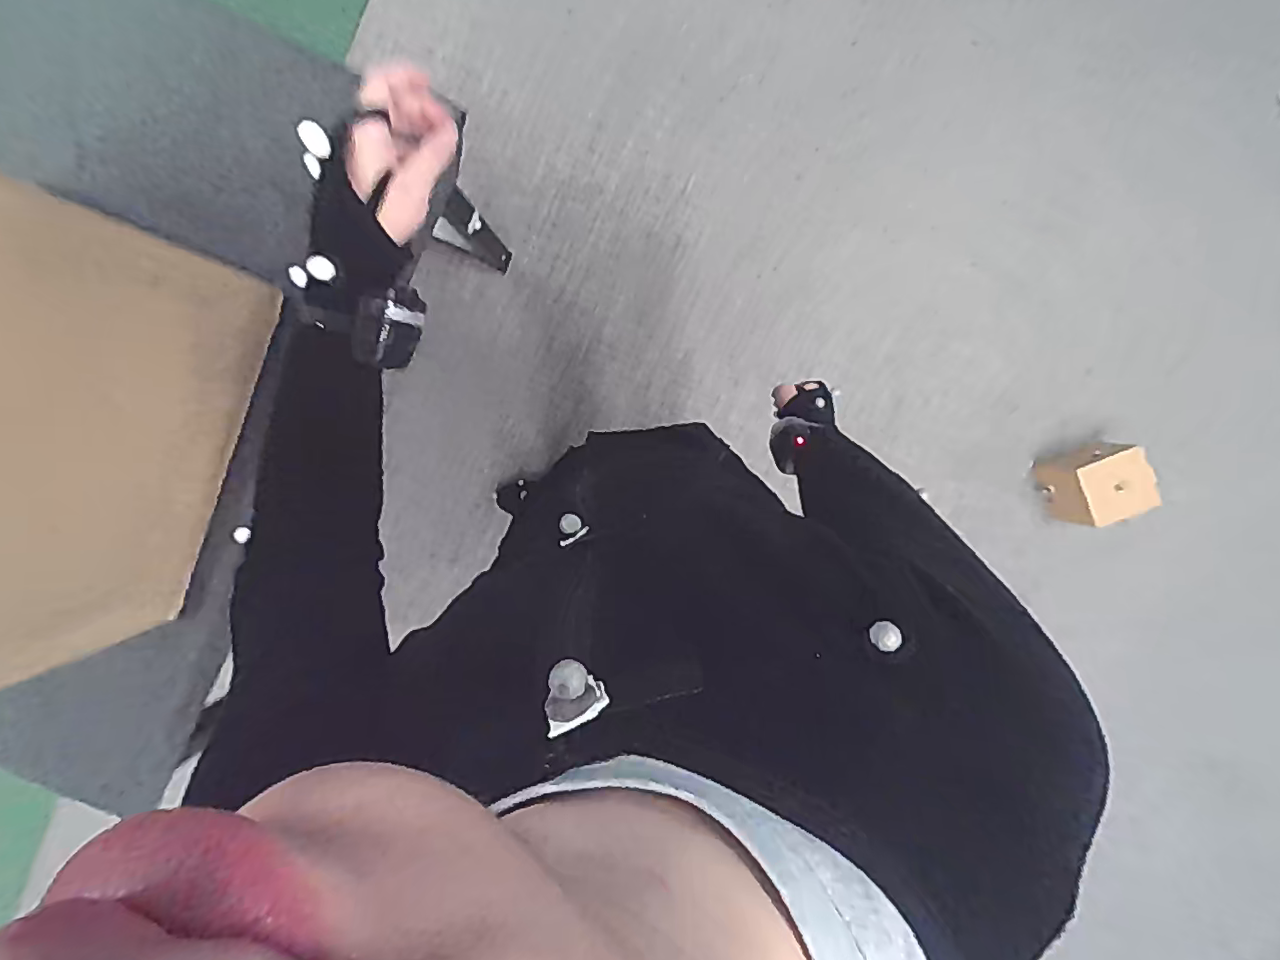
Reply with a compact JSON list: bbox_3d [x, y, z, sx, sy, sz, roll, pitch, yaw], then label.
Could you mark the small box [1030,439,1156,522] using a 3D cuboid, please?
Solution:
[{"bbox_3d":[1.209,-0.006,1.455,0.179,0.176,0.168,-23,93,4],"label":"small box"}]
